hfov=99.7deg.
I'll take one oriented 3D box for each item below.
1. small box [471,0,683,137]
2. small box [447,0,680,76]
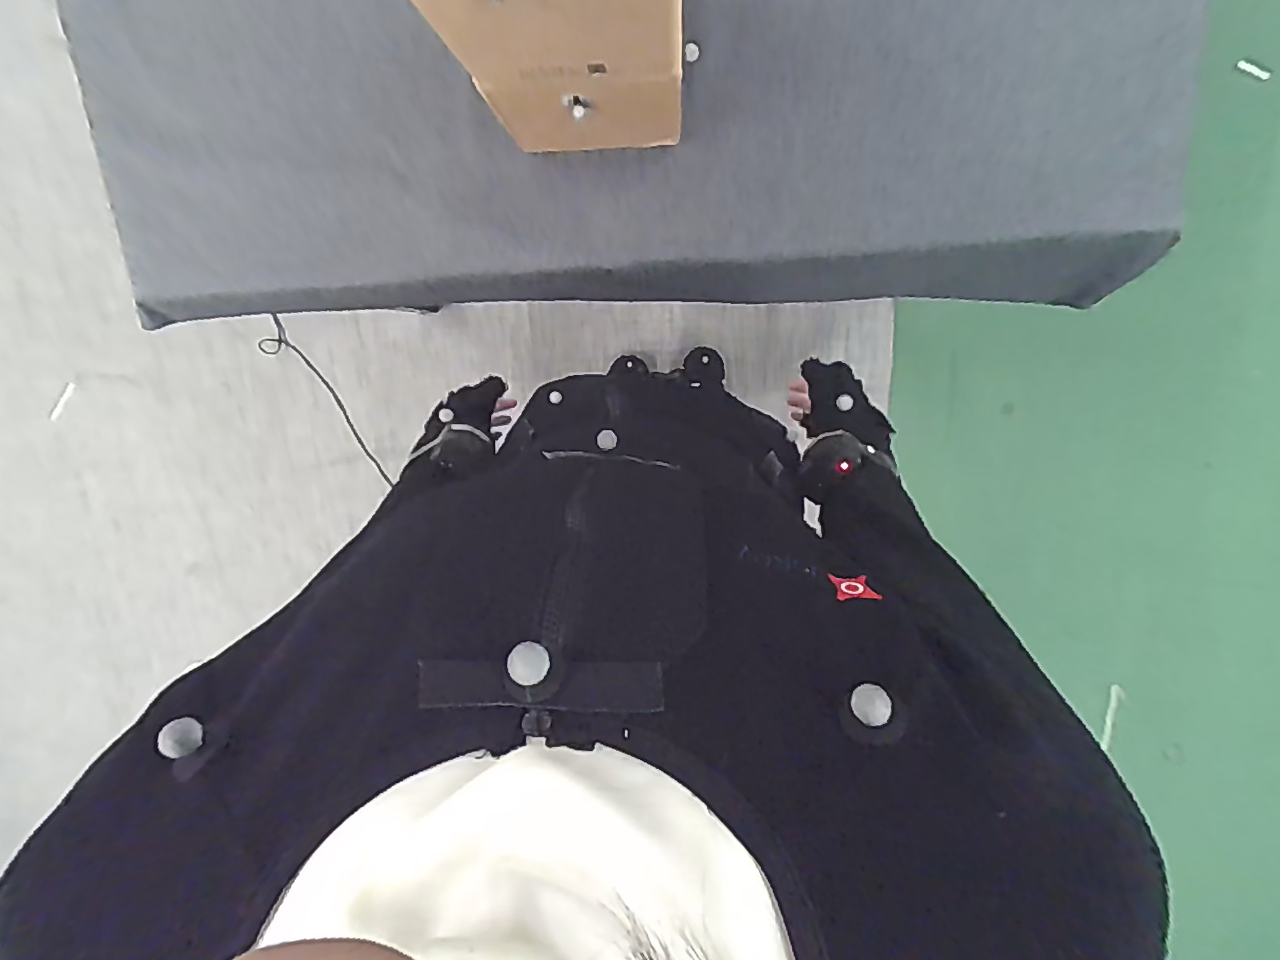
[{"bbox_3d":[-0.049,-0.440,0.504,0.179,0.176,0.168,-1,105,3],"label":"small box"},{"bbox_3d":[-0.058,-0.402,0.348,0.168,0.176,0.179,-2,105,4],"label":"small box"}]
